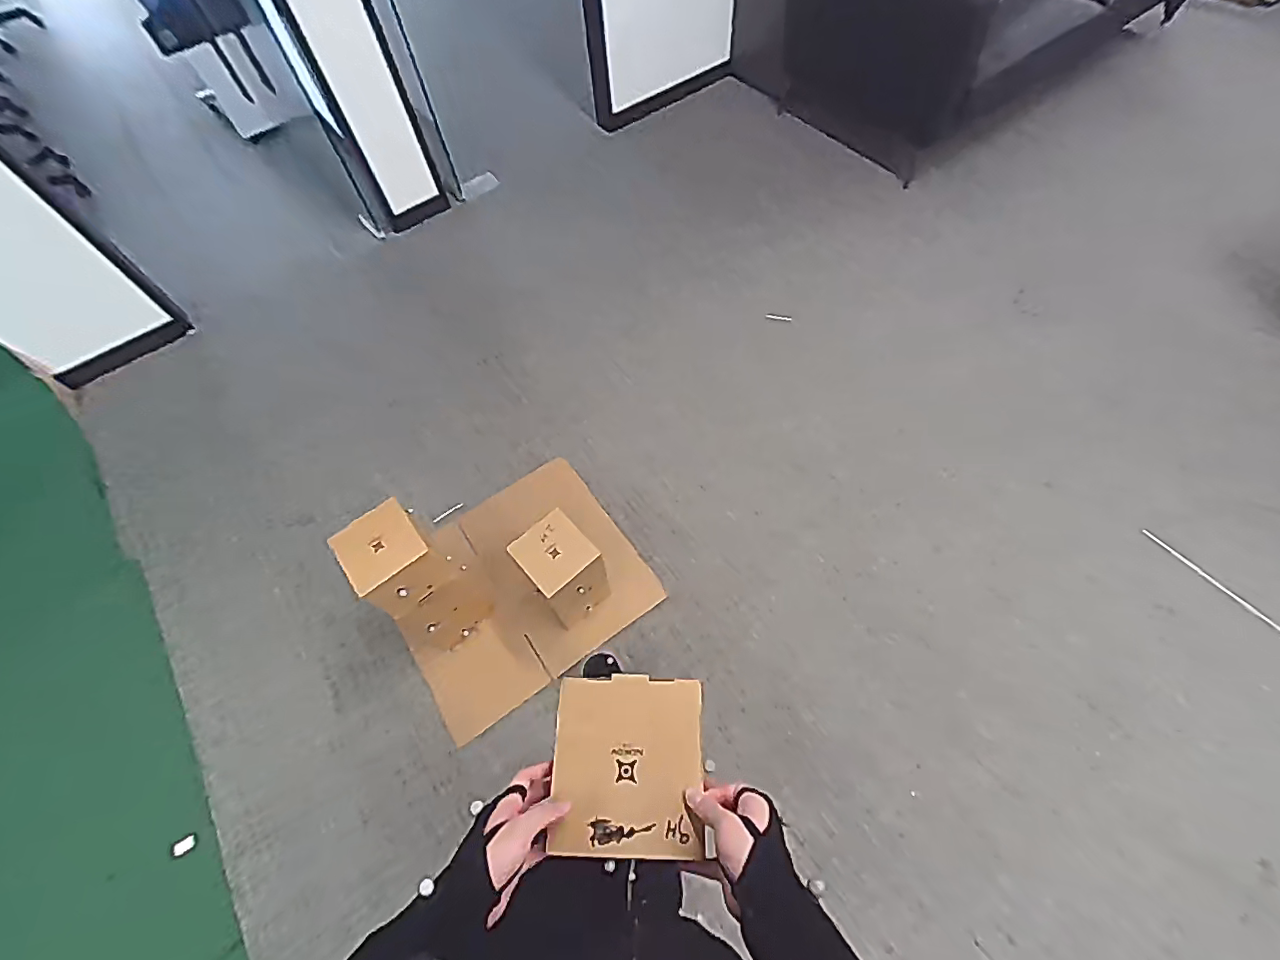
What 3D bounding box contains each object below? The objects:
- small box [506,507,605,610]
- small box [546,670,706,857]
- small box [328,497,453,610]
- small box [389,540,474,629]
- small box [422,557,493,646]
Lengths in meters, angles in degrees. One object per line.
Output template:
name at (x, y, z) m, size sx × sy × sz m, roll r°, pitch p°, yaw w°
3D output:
small box at (-0.205, 0.207, 1.371) m, size 0.168 × 0.176 × 0.179 m, roll -39°, pitch 66°, yaw -18°
small box at (-0.006, 0.339, 0.656) m, size 0.168 × 0.176 × 0.179 m, roll 0°, pitch 61°, yaw 5°
small box at (-0.559, 0.176, 1.233) m, size 0.168 × 0.176 × 0.179 m, roll -37°, pitch 64°, yaw -15°
small box at (-0.552, 0.258, 1.373) m, size 0.168 × 0.176 × 0.179 m, roll -37°, pitch 64°, yaw -15°
small box at (-0.543, 0.336, 1.515) m, size 0.168 × 0.176 × 0.179 m, roll -40°, pitch 66°, yaw -17°
